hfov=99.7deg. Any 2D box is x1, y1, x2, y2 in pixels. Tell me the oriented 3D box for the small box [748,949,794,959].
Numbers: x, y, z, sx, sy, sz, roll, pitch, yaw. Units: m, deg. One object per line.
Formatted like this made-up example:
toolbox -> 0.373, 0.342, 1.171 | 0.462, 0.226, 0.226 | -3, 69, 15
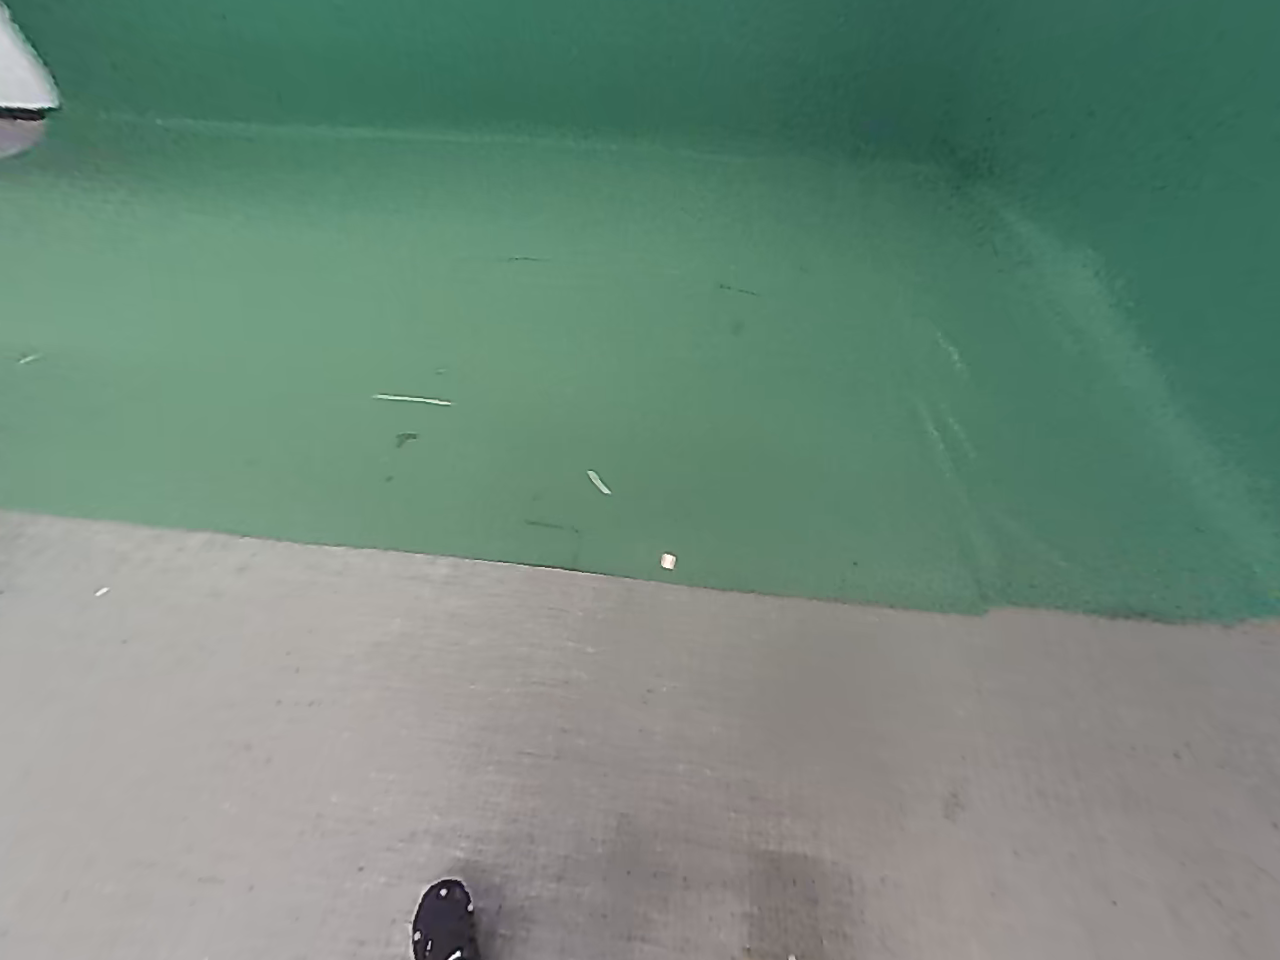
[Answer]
small box -> 0.276, 0.956, 0.943 | 0.168, 0.176, 0.179 | 11, 52, 7
